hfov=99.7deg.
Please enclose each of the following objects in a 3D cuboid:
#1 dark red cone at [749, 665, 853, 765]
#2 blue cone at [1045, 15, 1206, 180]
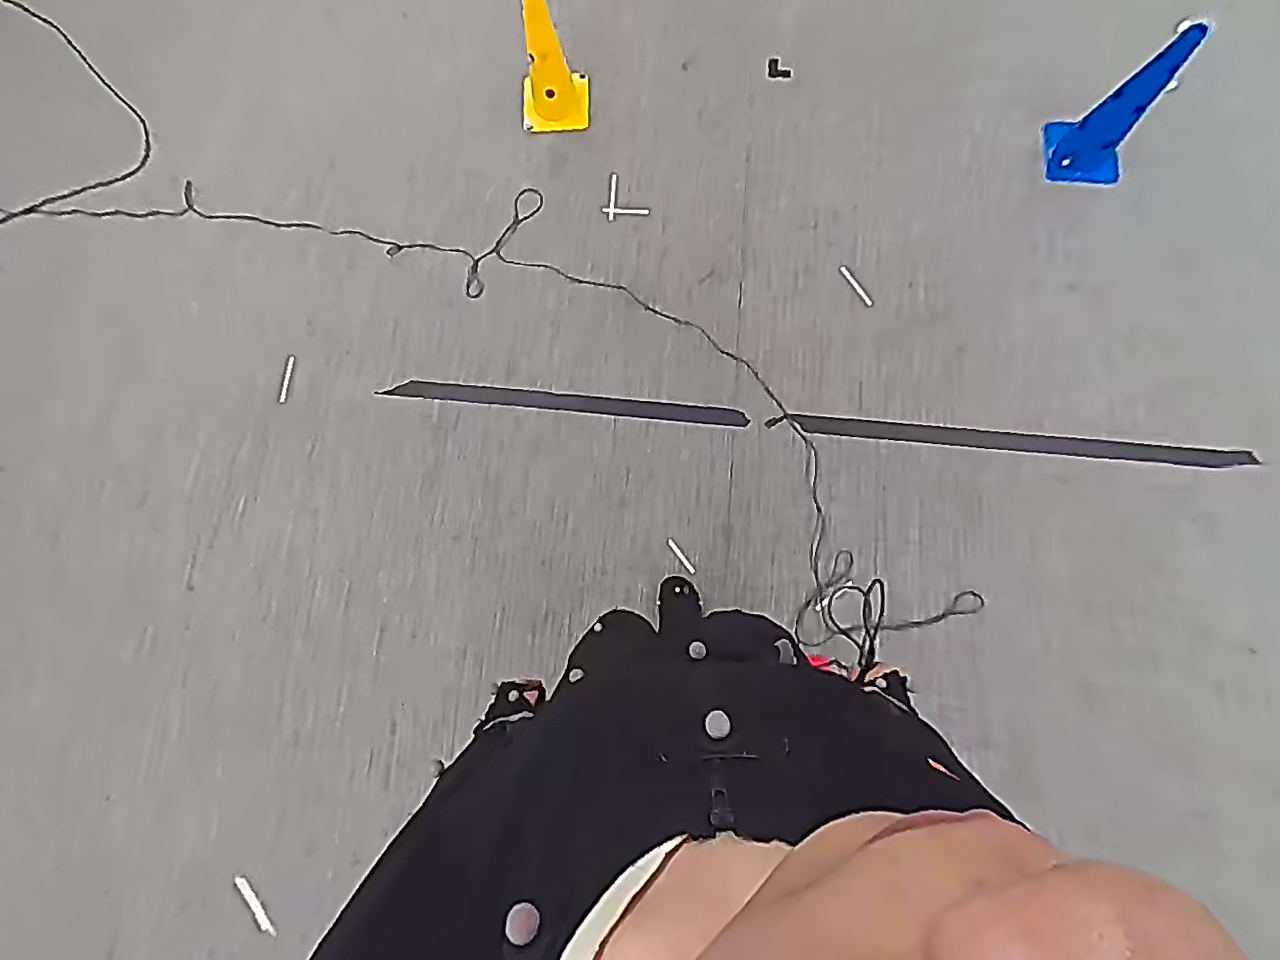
[{"bbox_3d":[0.355,0.507,1.109,0.202,0.394,0.201,-3,78,2],"label":"dark red cone"},{"bbox_3d":[1.258,-0.979,1.388,0.193,0.380,0.192,6,78,3],"label":"blue cone"}]
